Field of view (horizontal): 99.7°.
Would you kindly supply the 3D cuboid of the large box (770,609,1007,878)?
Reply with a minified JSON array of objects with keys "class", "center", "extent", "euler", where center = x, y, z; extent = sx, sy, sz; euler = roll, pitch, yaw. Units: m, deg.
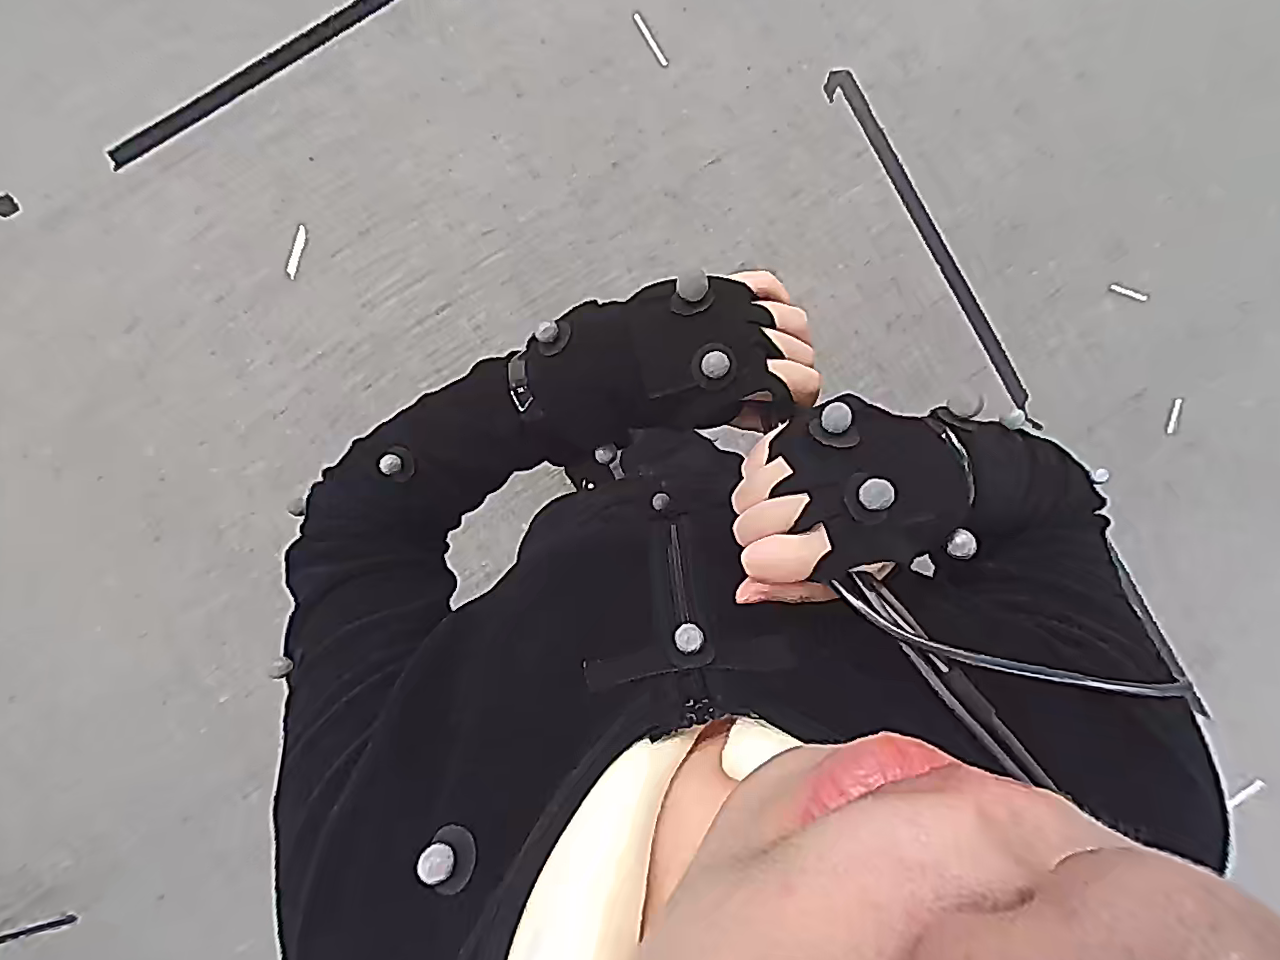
[{"class":"large box","center":[0.543,0.570,1.244],"extent":[0.320,0.320,0.408],"euler":[-19,95,-3]}]
